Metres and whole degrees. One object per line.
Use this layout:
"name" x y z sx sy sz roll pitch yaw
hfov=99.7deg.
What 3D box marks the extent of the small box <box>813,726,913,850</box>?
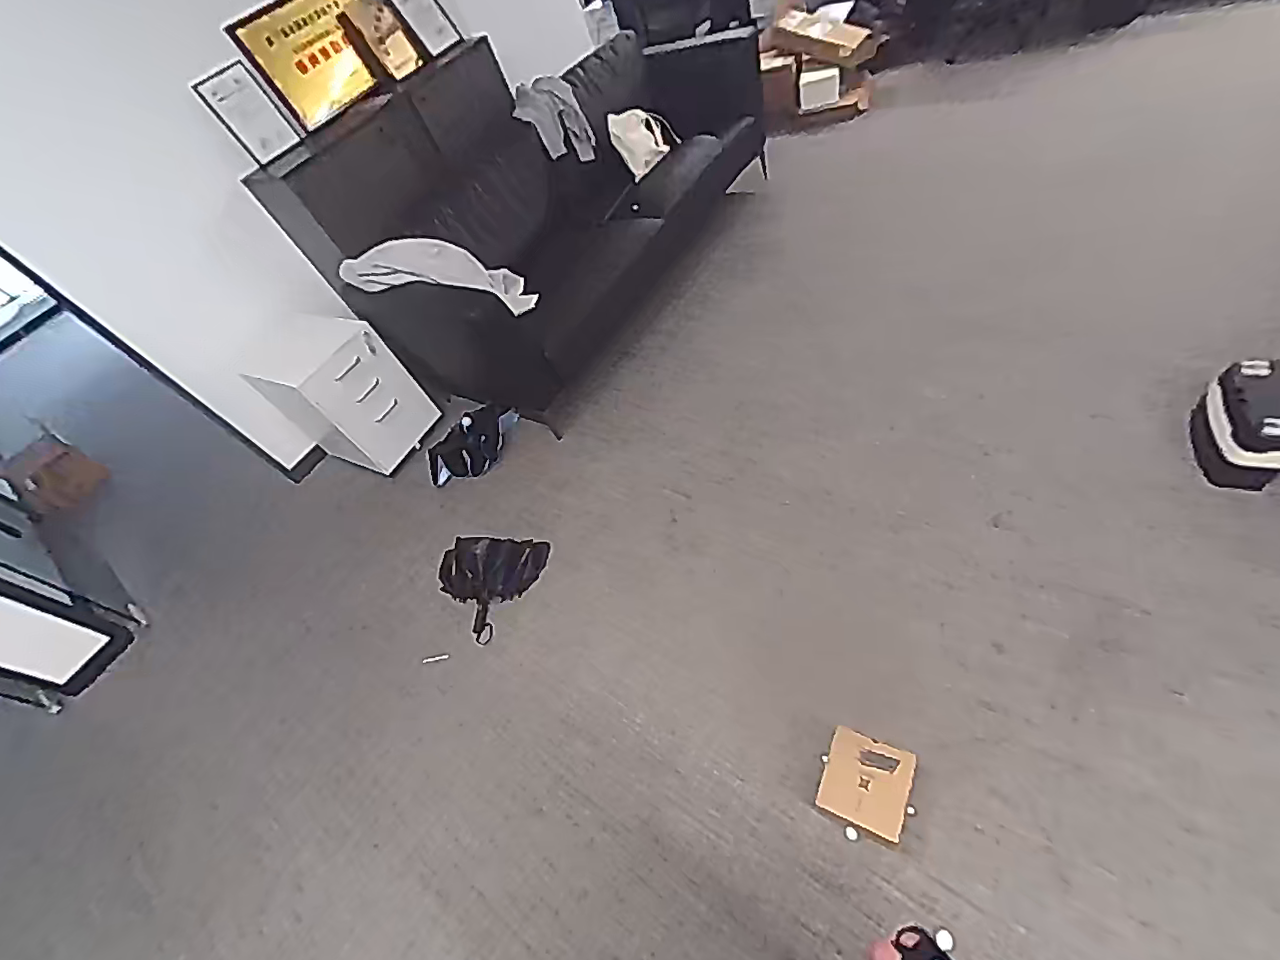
"small box" 0.495 0.686 1.202 0.168 0.176 0.179 12 59 30
